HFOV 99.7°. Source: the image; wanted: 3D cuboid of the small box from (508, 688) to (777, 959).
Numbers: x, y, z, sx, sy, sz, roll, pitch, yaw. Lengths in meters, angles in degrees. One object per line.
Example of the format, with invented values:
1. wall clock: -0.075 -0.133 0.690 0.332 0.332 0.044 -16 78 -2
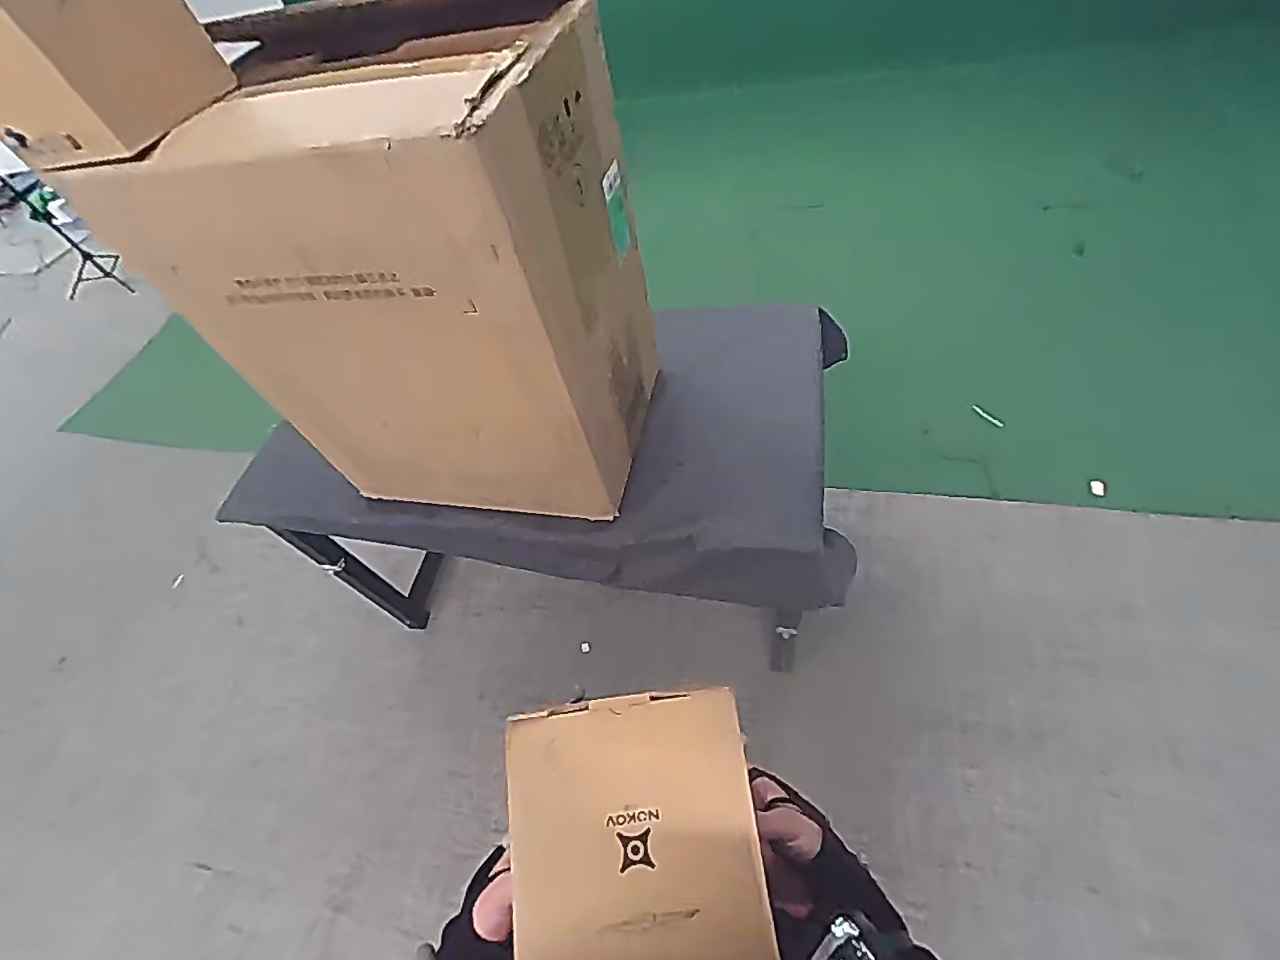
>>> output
1. small box: -0.004 0.267 0.431 0.168 0.176 0.179 -7 71 -2

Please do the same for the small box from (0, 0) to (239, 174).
1. small box: -0.577 -0.437 0.557 0.168 0.176 0.179 5 55 17
